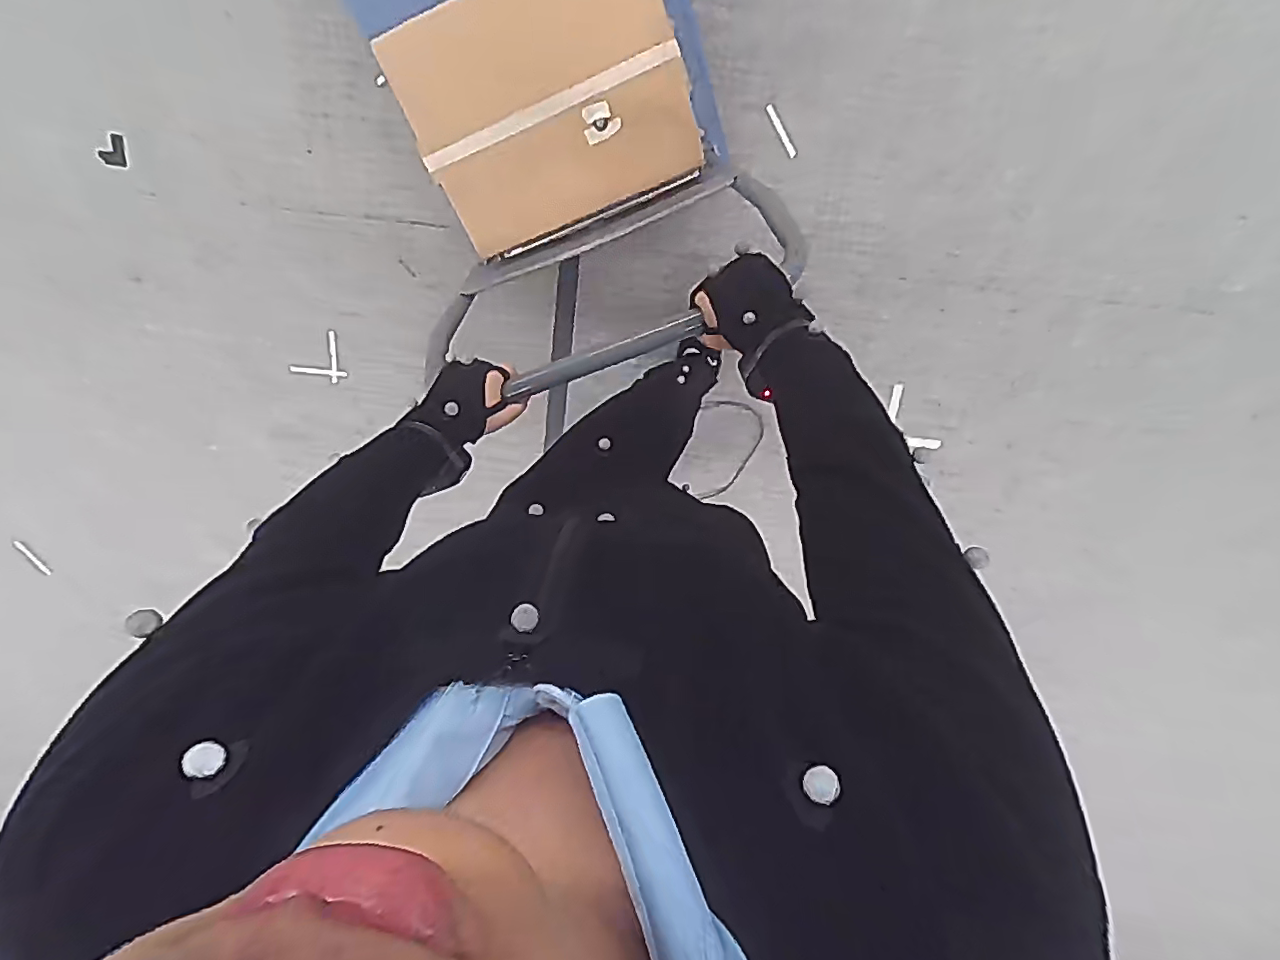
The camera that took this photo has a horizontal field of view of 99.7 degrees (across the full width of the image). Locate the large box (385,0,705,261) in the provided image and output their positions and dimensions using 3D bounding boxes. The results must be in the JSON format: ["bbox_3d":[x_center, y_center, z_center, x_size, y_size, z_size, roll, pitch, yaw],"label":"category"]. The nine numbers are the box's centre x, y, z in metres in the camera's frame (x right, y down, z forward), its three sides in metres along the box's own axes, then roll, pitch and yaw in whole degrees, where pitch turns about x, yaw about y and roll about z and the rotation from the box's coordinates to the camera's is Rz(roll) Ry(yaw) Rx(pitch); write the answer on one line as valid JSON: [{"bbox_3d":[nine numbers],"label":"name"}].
[{"bbox_3d":[-0.141,-0.639,0.945,0.408,0.320,0.320,-20,123,9],"label":"large box"}]
